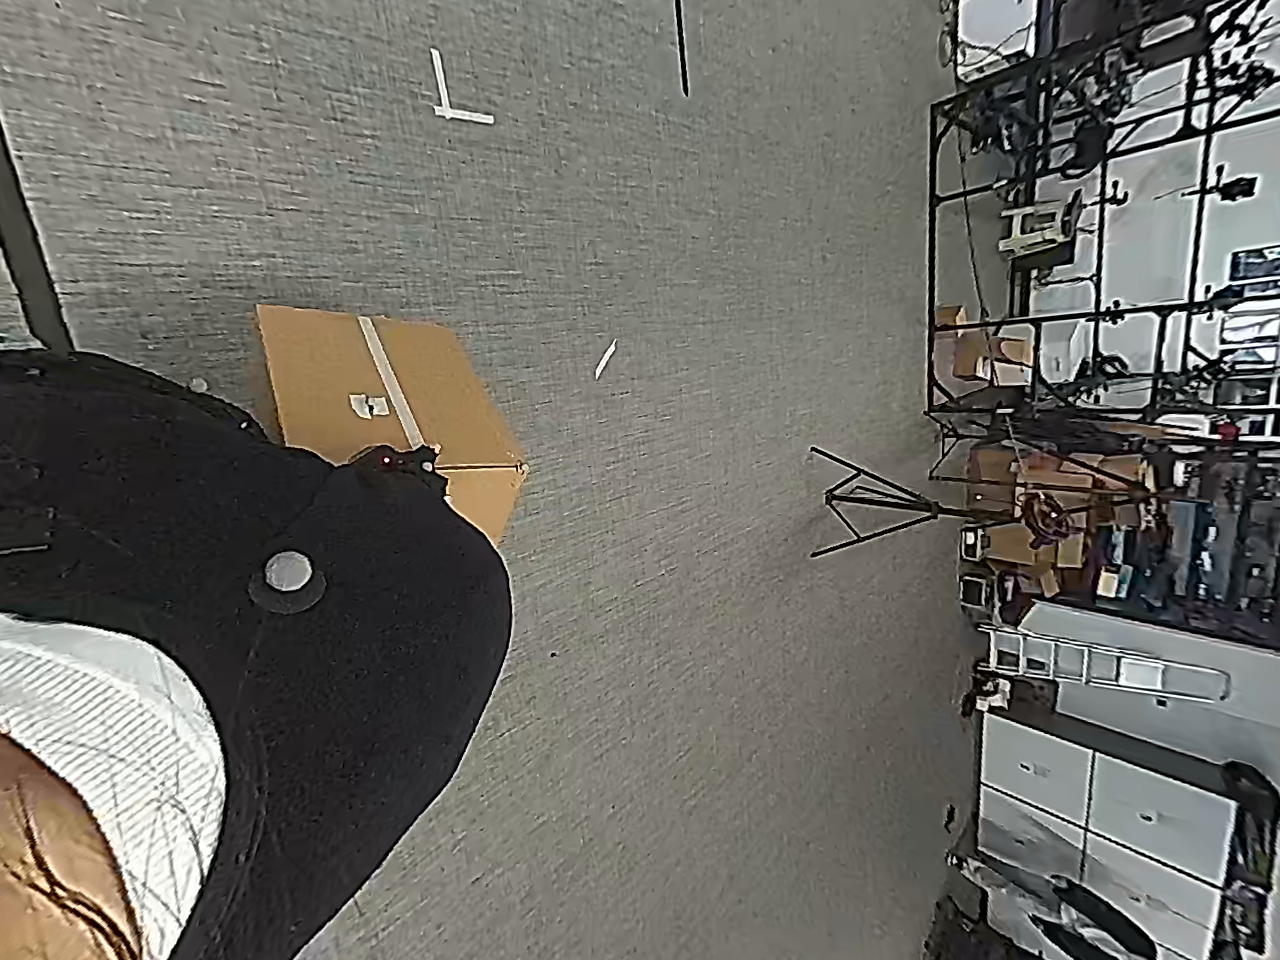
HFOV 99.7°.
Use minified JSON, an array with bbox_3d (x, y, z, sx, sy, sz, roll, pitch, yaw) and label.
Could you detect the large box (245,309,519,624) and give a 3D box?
[{"bbox_3d":[-0.462,-0.033,0.922,0.320,0.408,0.320,-5,137,-39],"label":"large box"}]
